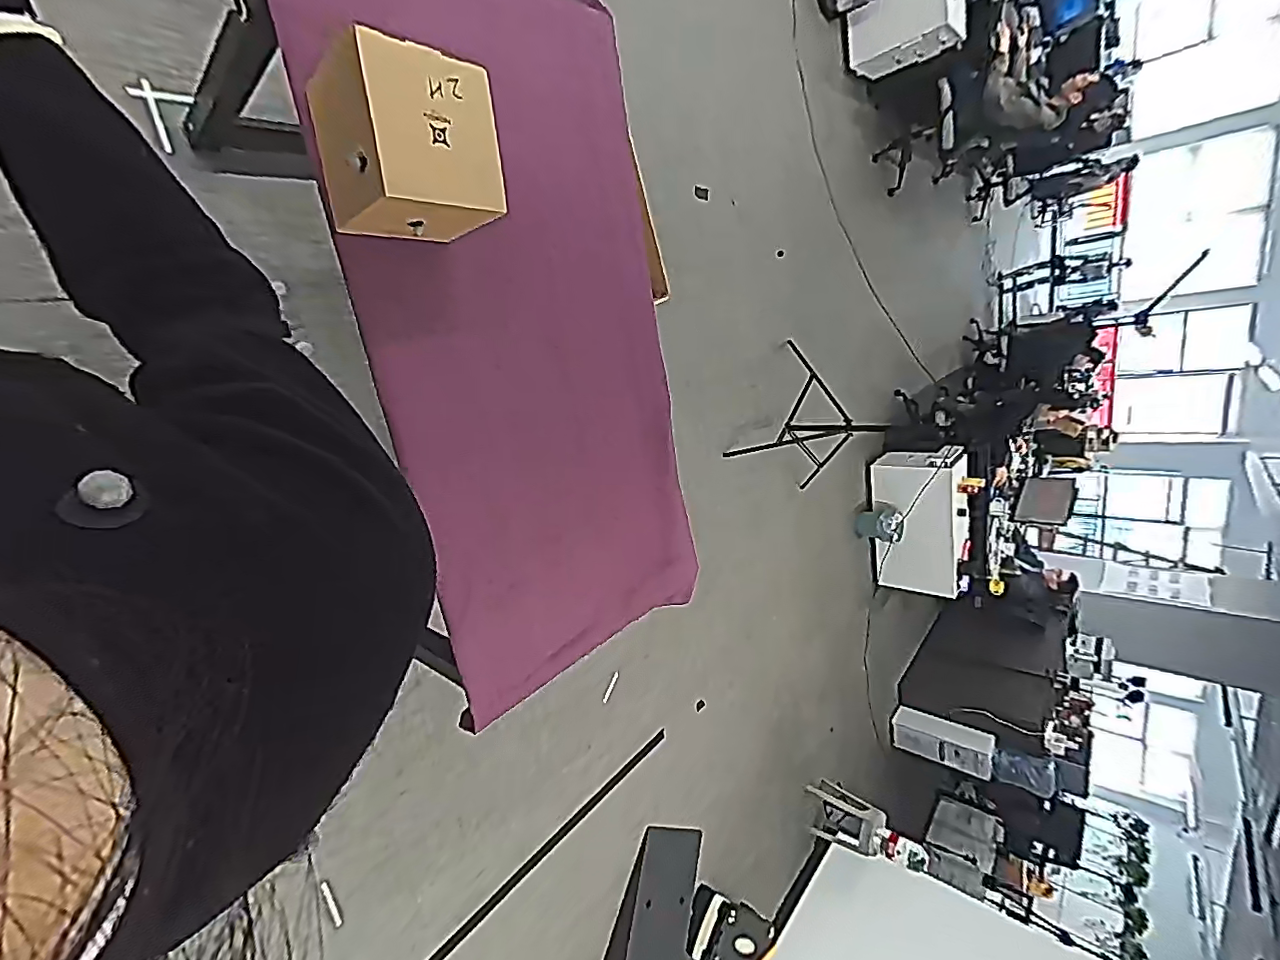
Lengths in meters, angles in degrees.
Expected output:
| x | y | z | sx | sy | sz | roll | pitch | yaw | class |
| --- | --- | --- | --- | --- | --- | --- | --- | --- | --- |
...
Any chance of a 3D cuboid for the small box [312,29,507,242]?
| x | y | z | sx | sy | sz | roll | pitch | yaw | class |
| --- | --- | --- | --- | --- | --- | --- | --- | --- | --- |
| -0.301 | -0.425 | 0.709 | 0.168 | 0.176 | 0.179 | -19 | 107 | -45 | small box |
